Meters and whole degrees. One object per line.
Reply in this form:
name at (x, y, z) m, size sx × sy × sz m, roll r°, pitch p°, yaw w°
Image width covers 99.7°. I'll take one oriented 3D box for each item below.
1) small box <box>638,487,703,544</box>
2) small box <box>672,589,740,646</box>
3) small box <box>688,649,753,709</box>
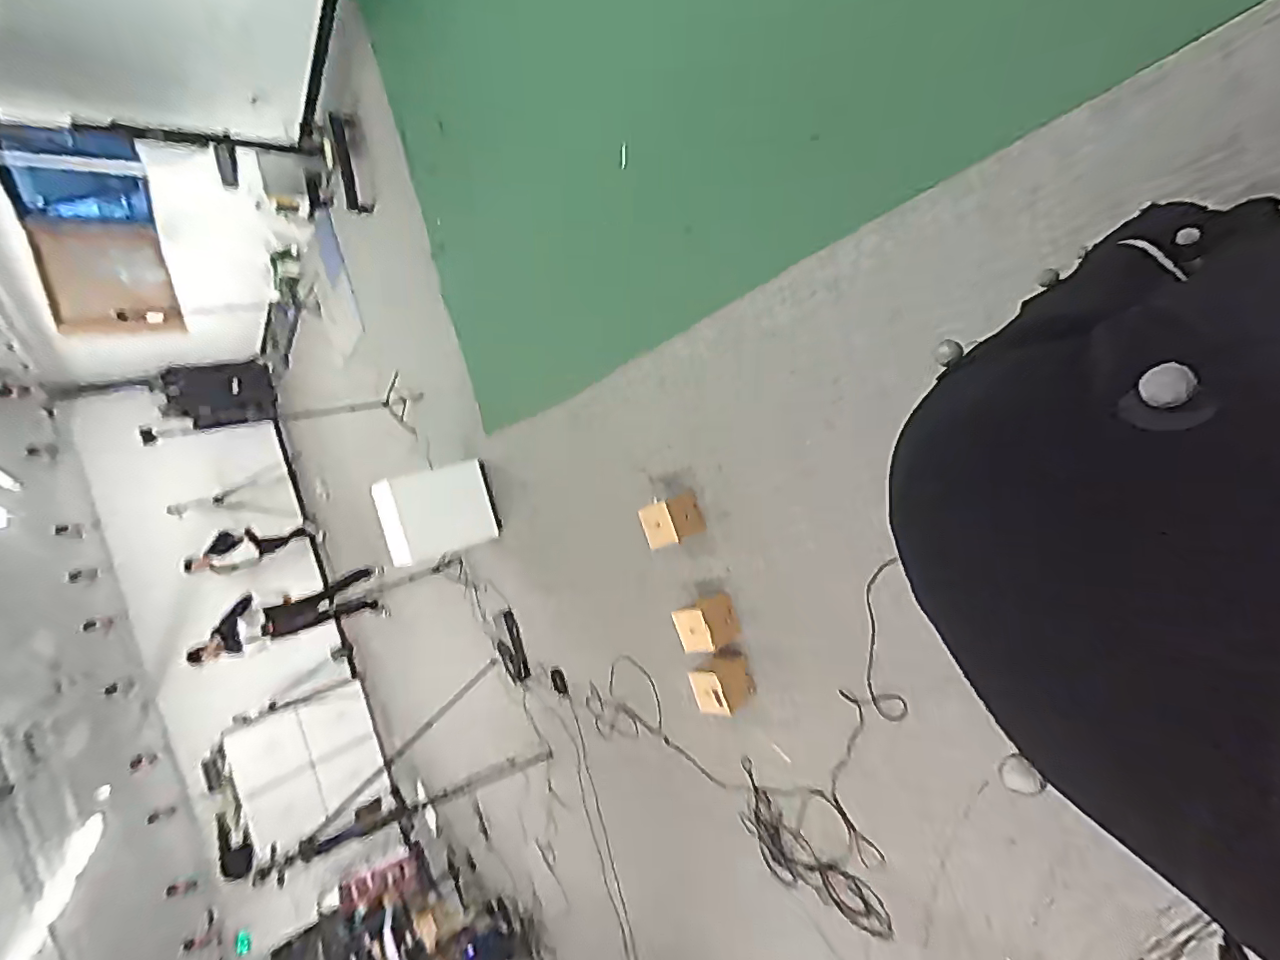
small box at (0.129, 0.139, 2.144) m, size 0.179 × 0.176 × 0.168 m, roll -24°, pitch 84°, yaw 50°
small box at (0.263, 0.544, 2.142) m, size 0.179 × 0.176 × 0.168 m, roll -25°, pitch 85°, yaw 49°
small box at (0.328, 0.790, 2.159) m, size 0.179 × 0.176 × 0.168 m, roll -20°, pitch 88°, yaw 51°
